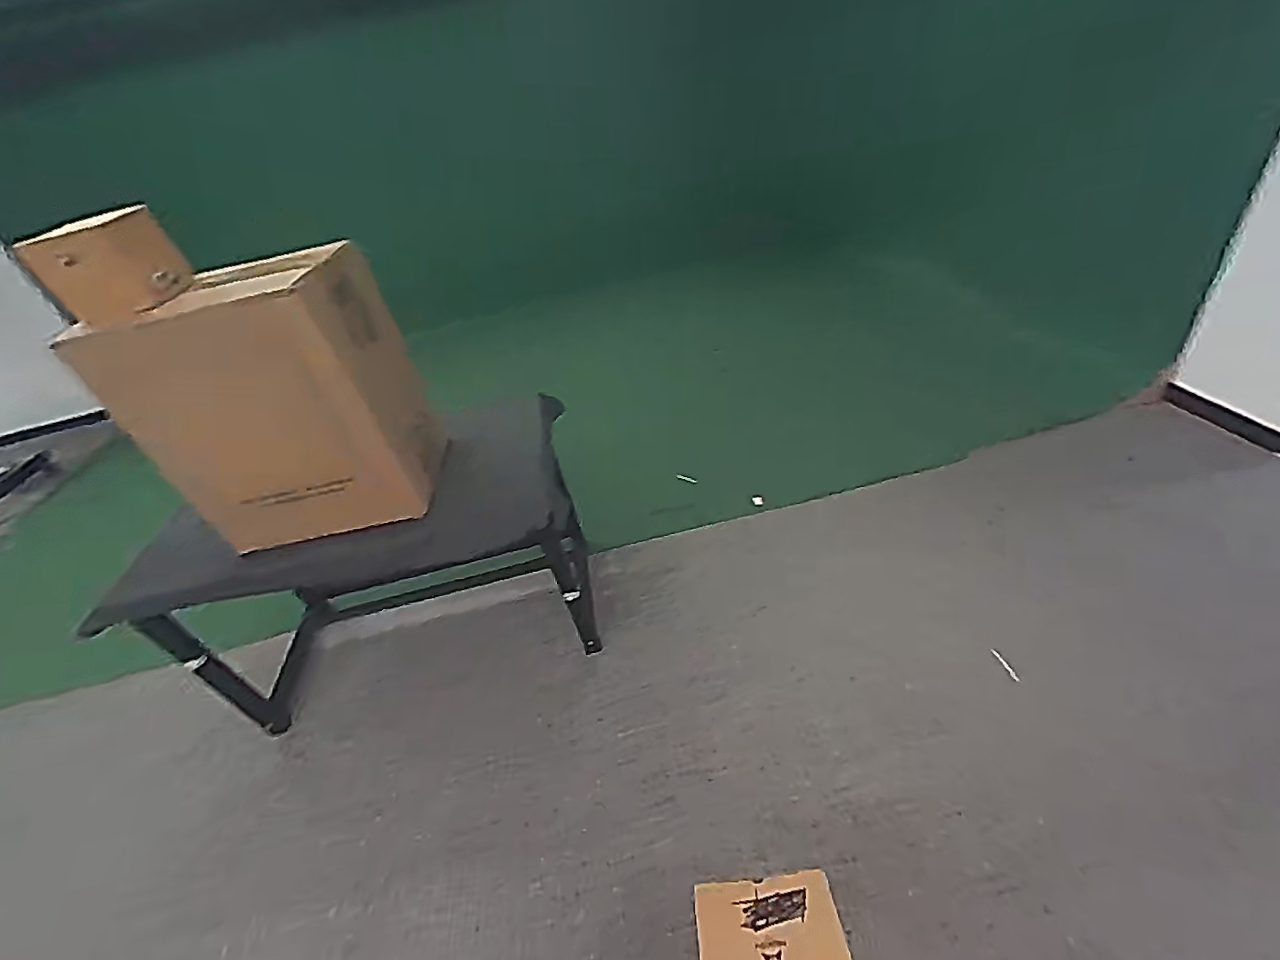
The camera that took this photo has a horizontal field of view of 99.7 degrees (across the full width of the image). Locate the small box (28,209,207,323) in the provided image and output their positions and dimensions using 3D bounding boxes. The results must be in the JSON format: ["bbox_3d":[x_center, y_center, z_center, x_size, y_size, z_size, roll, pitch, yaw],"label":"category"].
[{"bbox_3d":[-1.097,-0.453,1.154,0.179,0.176,0.168,-11,41,2],"label":"small box"}]

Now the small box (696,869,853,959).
[{"bbox_3d":[0.164,0.604,0.625,0.168,0.176,0.179,-11,18,2],"label":"small box"}]
